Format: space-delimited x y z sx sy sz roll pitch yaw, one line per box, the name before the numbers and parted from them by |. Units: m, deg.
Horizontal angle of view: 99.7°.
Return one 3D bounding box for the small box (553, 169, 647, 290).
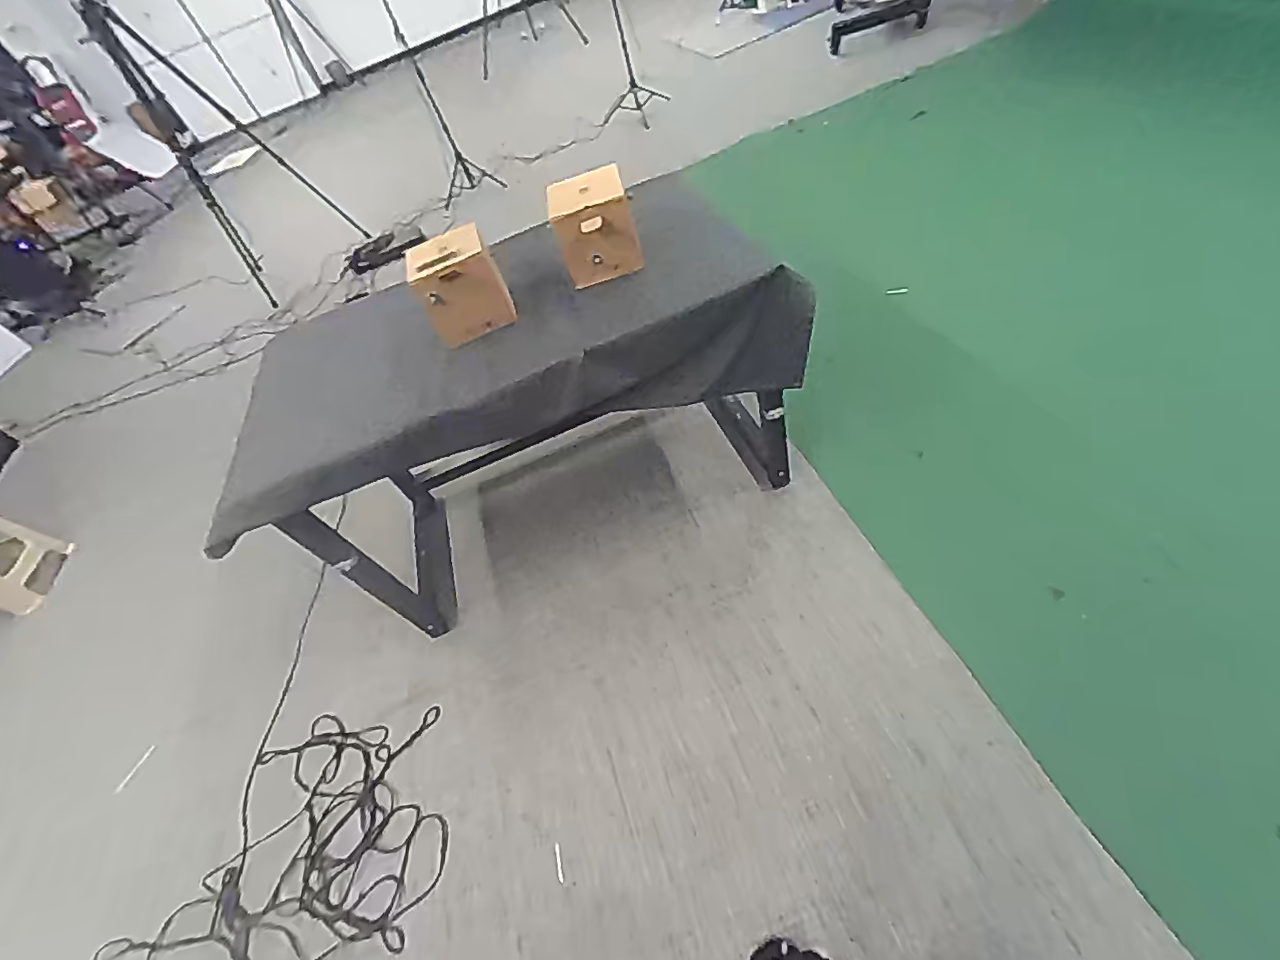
small box | -0.089 -0.560 1.215 0.168 0.176 0.179 -15 49 6
